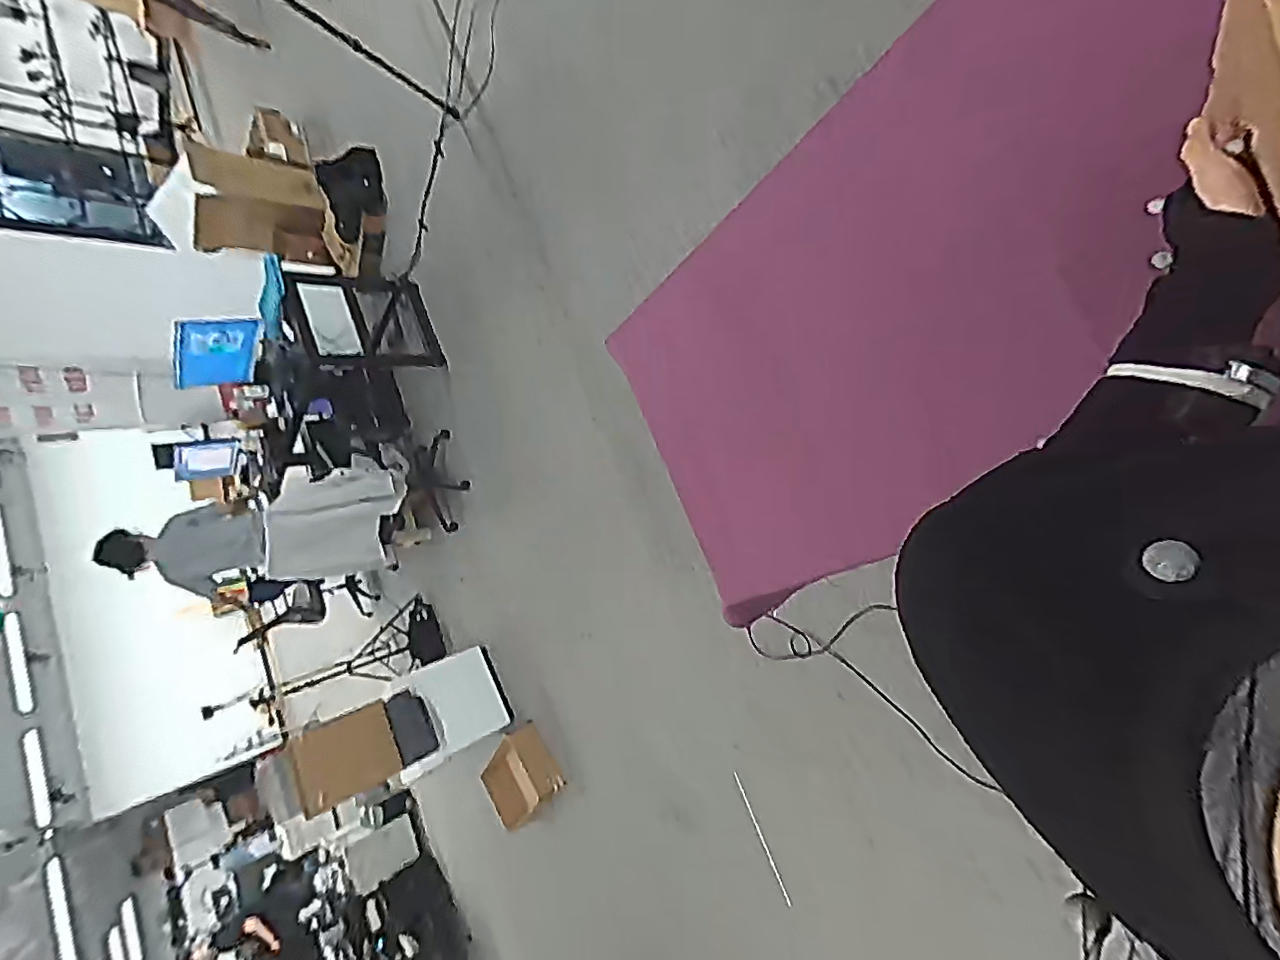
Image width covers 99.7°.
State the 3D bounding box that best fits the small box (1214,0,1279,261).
[{"bbox_3d":[0.559,-0.277,0.392,0.168,0.176,0.179,-15,88,43],"label":"small box"}]
